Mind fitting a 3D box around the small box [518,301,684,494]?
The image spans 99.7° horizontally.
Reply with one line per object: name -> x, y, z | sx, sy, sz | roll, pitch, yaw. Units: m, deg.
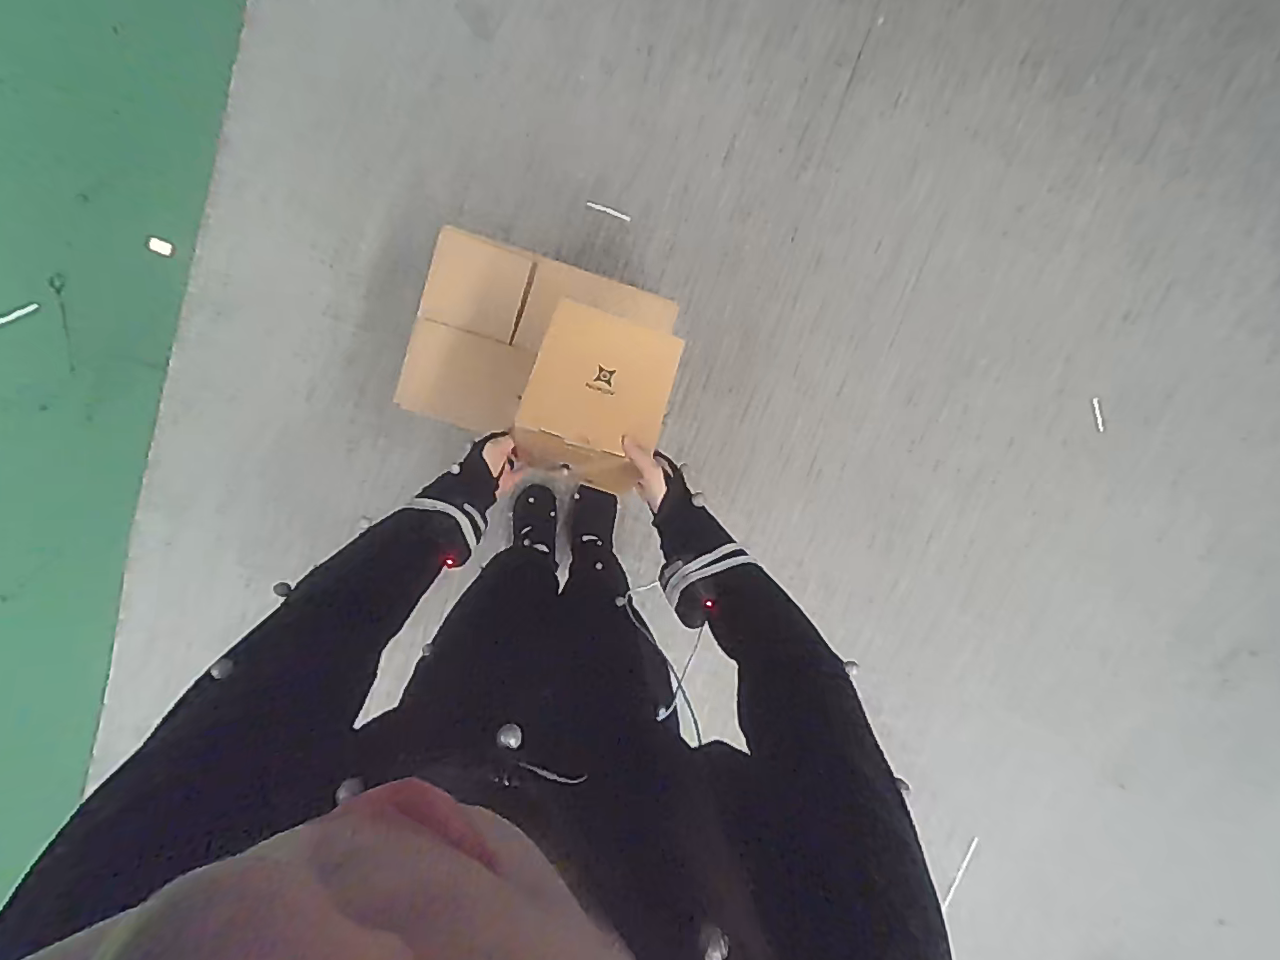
small box -> -0.058, -0.098, 0.723 | 0.168, 0.176, 0.179 | 18, 74, -6
